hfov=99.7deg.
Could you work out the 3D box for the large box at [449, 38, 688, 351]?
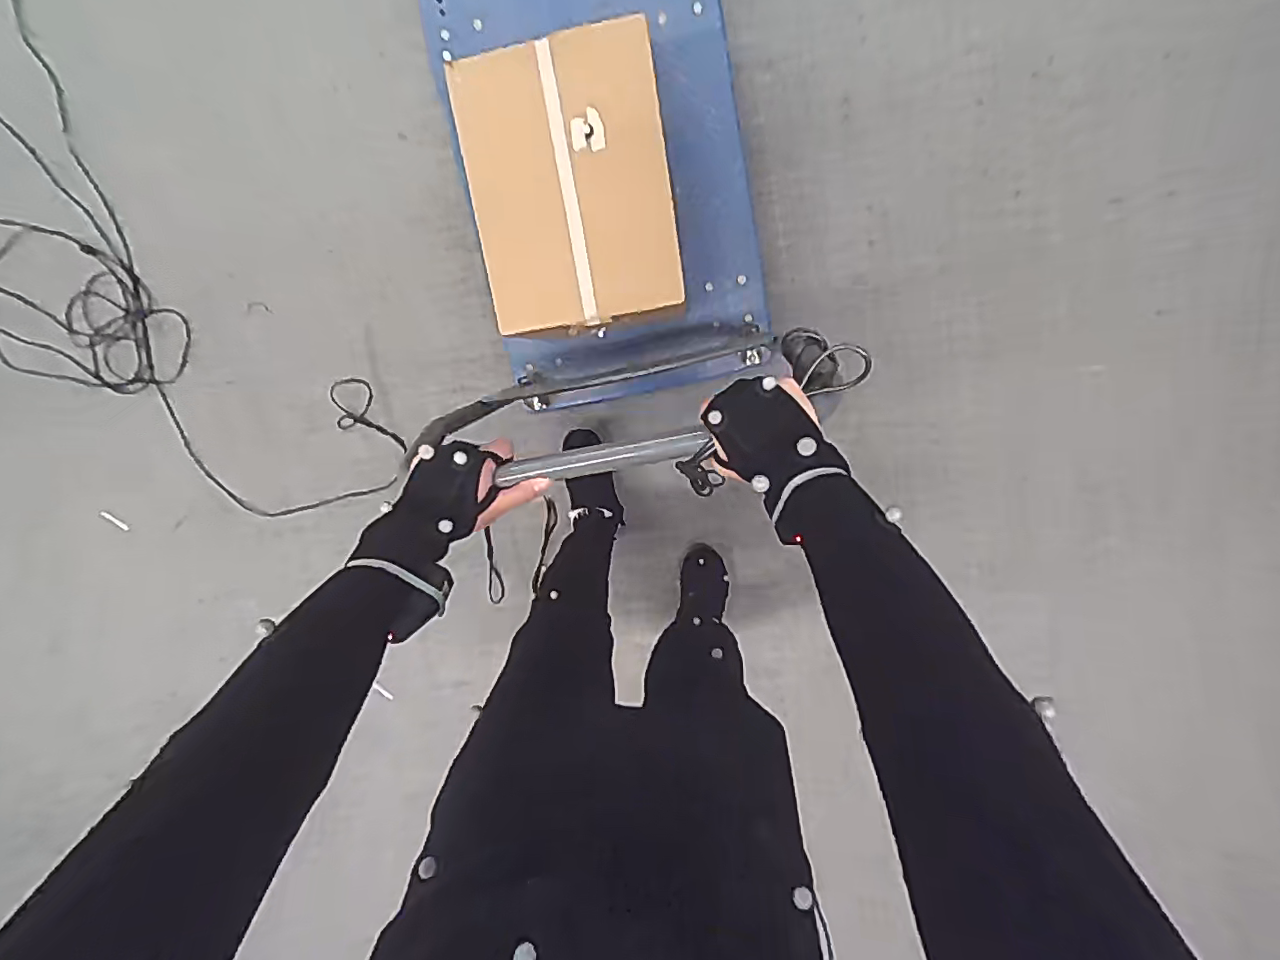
[{"bbox_3d":[-0.095,-0.466,0.991,0.320,0.320,0.408,-8,102,7],"label":"large box"}]
